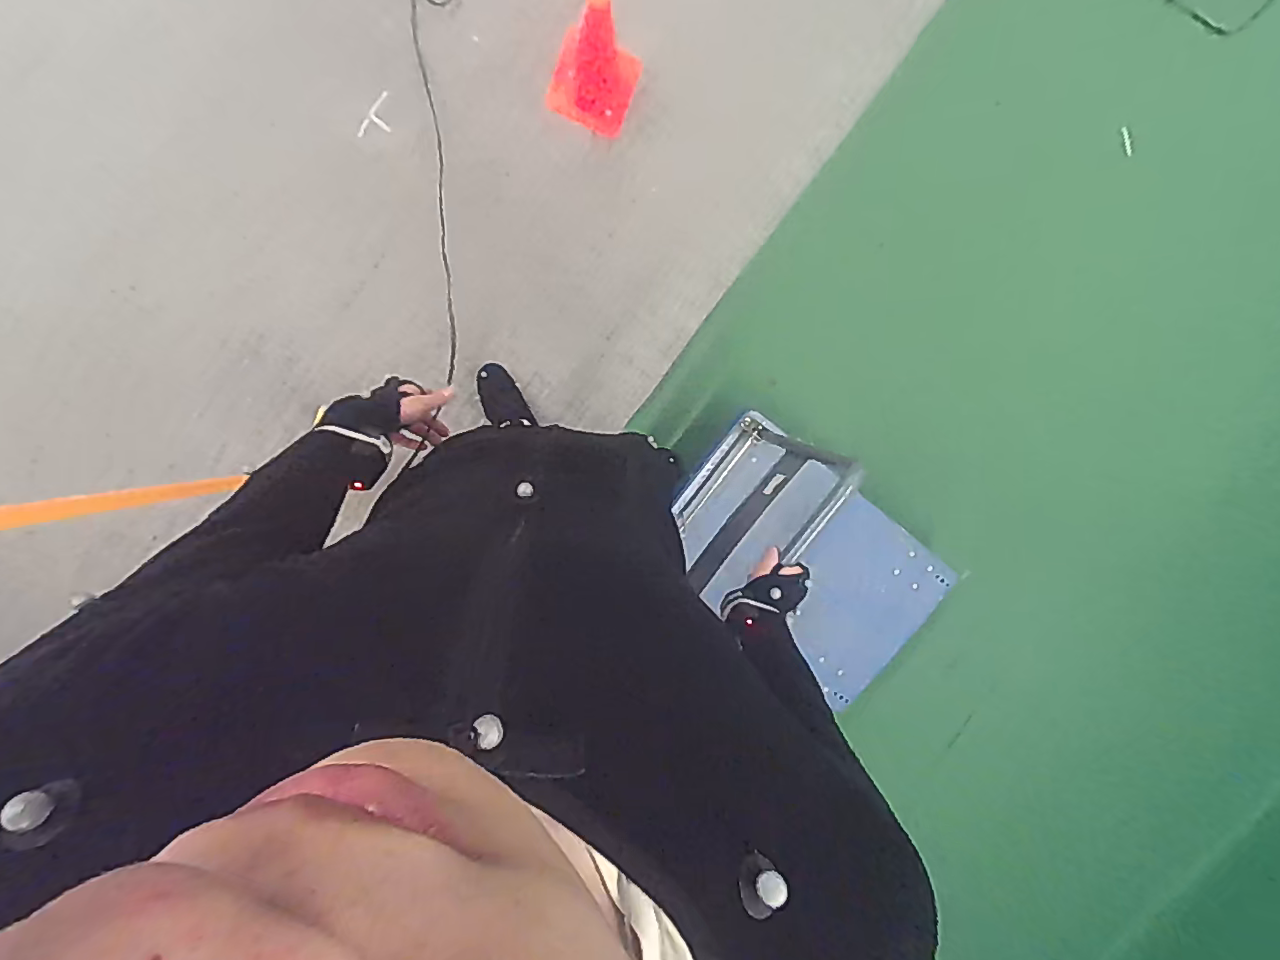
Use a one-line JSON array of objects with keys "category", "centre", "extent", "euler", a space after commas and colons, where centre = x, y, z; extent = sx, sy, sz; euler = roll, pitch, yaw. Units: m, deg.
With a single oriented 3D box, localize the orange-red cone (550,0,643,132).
[{"category": "orange-red cone", "centre": [-0.088, -0.989, 1.216], "extent": [0.198, 0.360, 0.199], "euler": [21, 98, -12]}]
